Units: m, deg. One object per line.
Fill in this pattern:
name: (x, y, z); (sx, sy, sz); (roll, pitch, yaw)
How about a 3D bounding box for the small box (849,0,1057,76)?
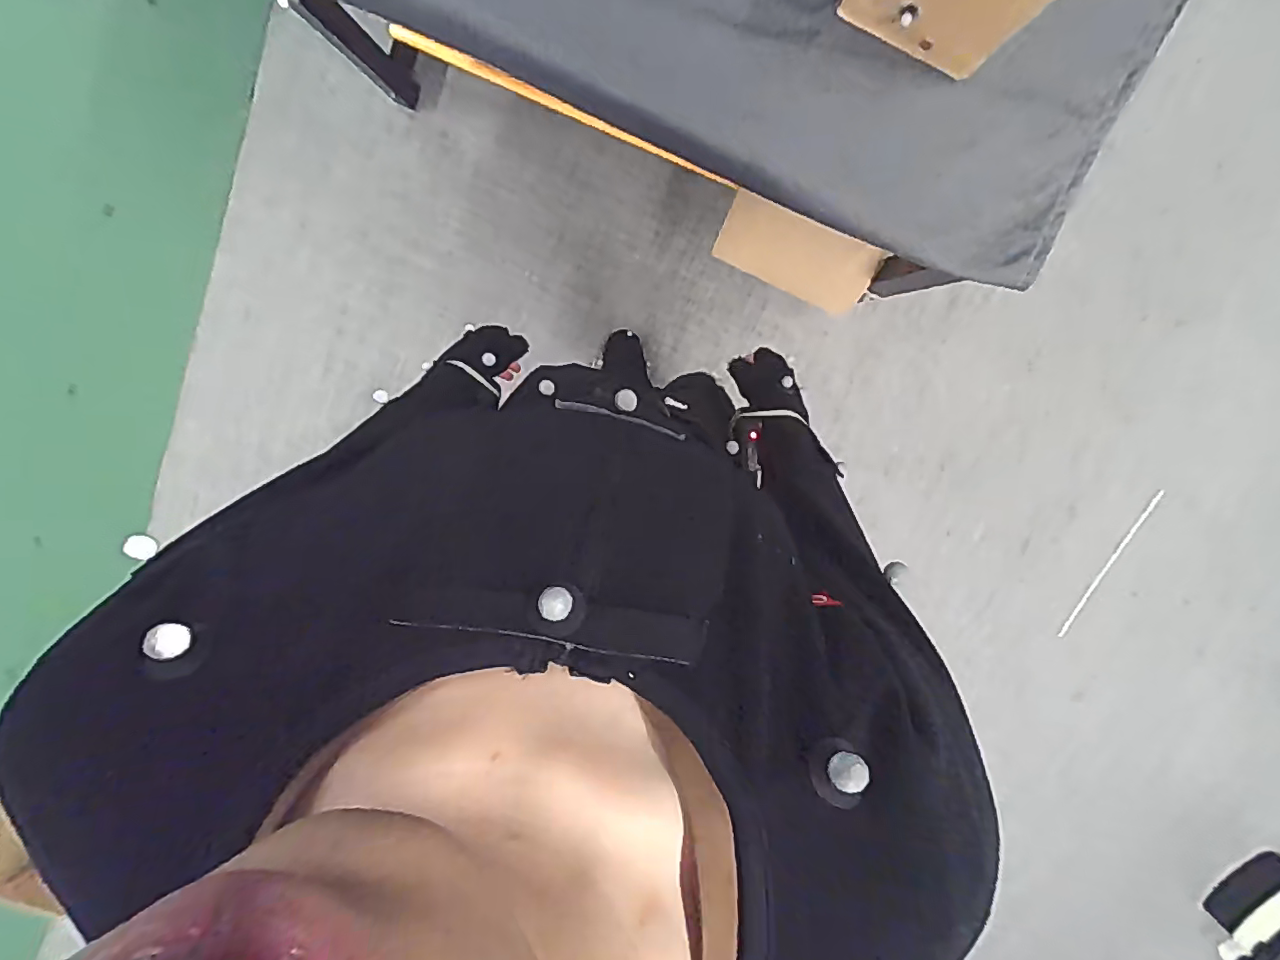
small box: (0.327, -0.541, 0.508); (0.168, 0.176, 0.179); (25, 104, -4)
